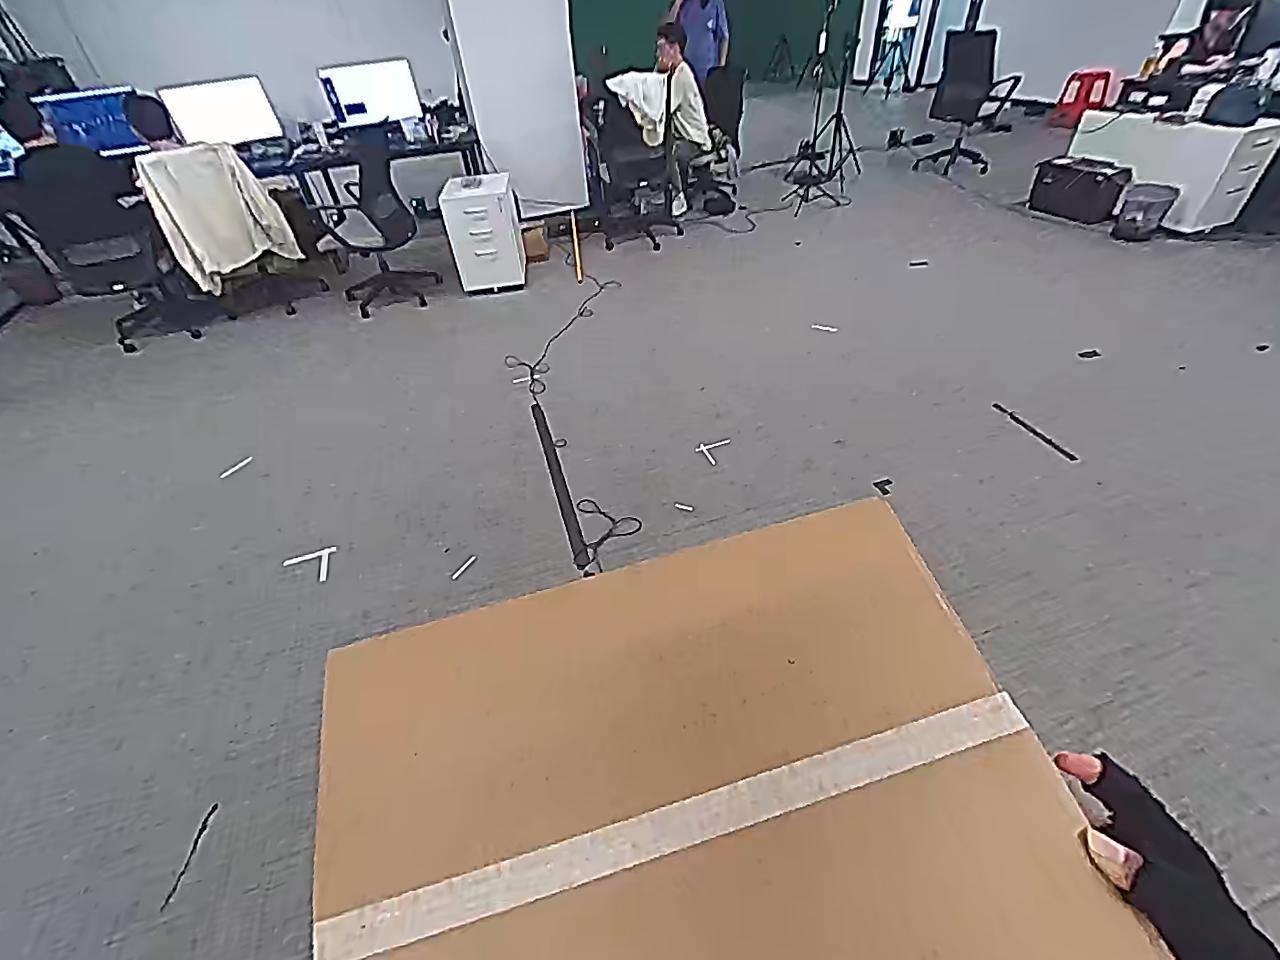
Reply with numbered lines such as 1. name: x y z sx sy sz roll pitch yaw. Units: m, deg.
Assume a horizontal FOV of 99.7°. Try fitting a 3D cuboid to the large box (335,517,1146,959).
1. large box: 0.039 0.281 0.431 0.408 0.320 0.320 -16 56 -5
